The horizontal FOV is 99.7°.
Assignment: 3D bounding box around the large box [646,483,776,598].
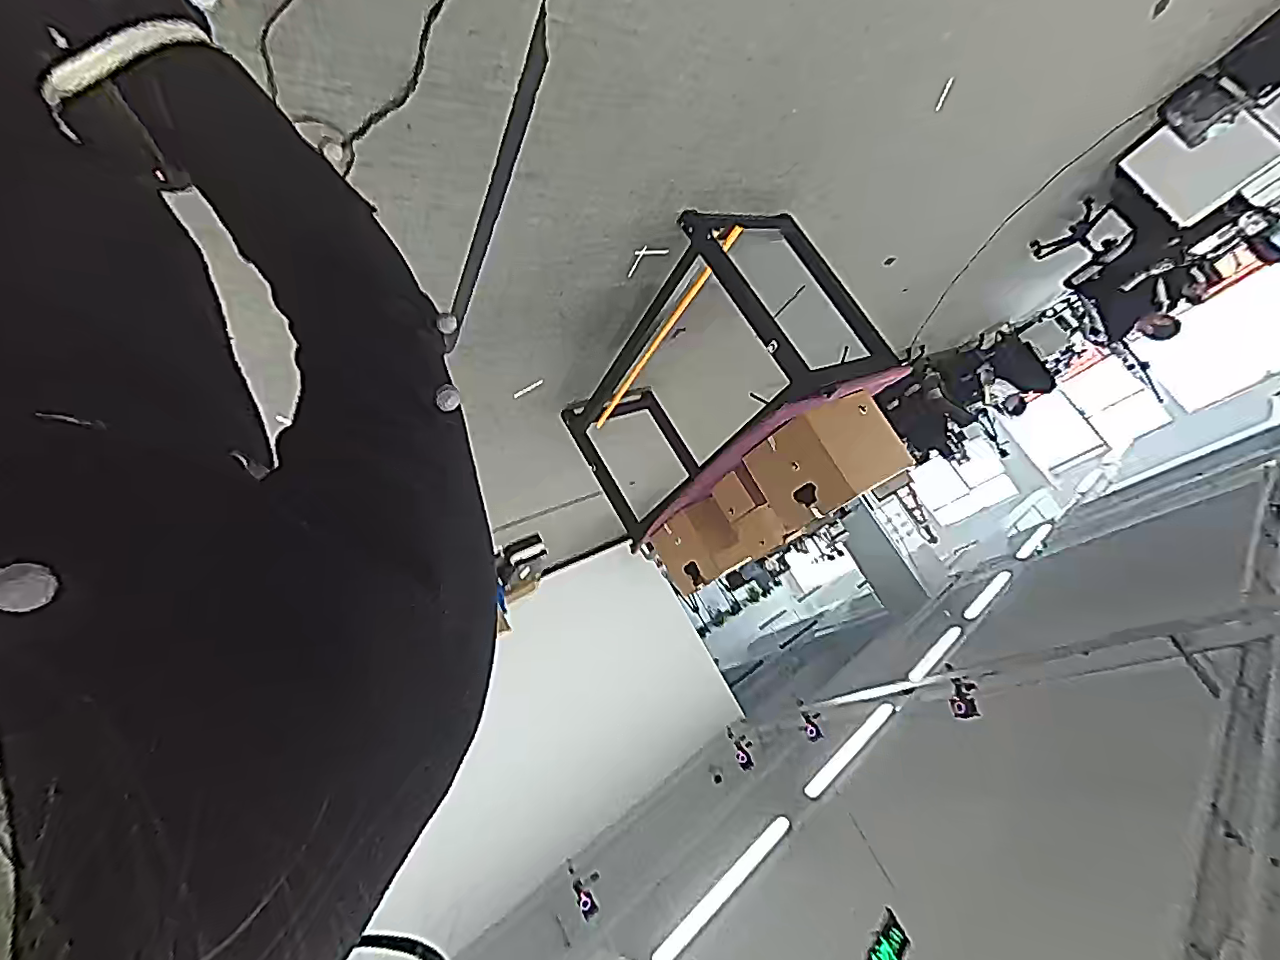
[{"bbox_3d":[0.307,0.260,2.388,0.408,0.320,0.320,-21,164,-38],"label":"large box"}]
